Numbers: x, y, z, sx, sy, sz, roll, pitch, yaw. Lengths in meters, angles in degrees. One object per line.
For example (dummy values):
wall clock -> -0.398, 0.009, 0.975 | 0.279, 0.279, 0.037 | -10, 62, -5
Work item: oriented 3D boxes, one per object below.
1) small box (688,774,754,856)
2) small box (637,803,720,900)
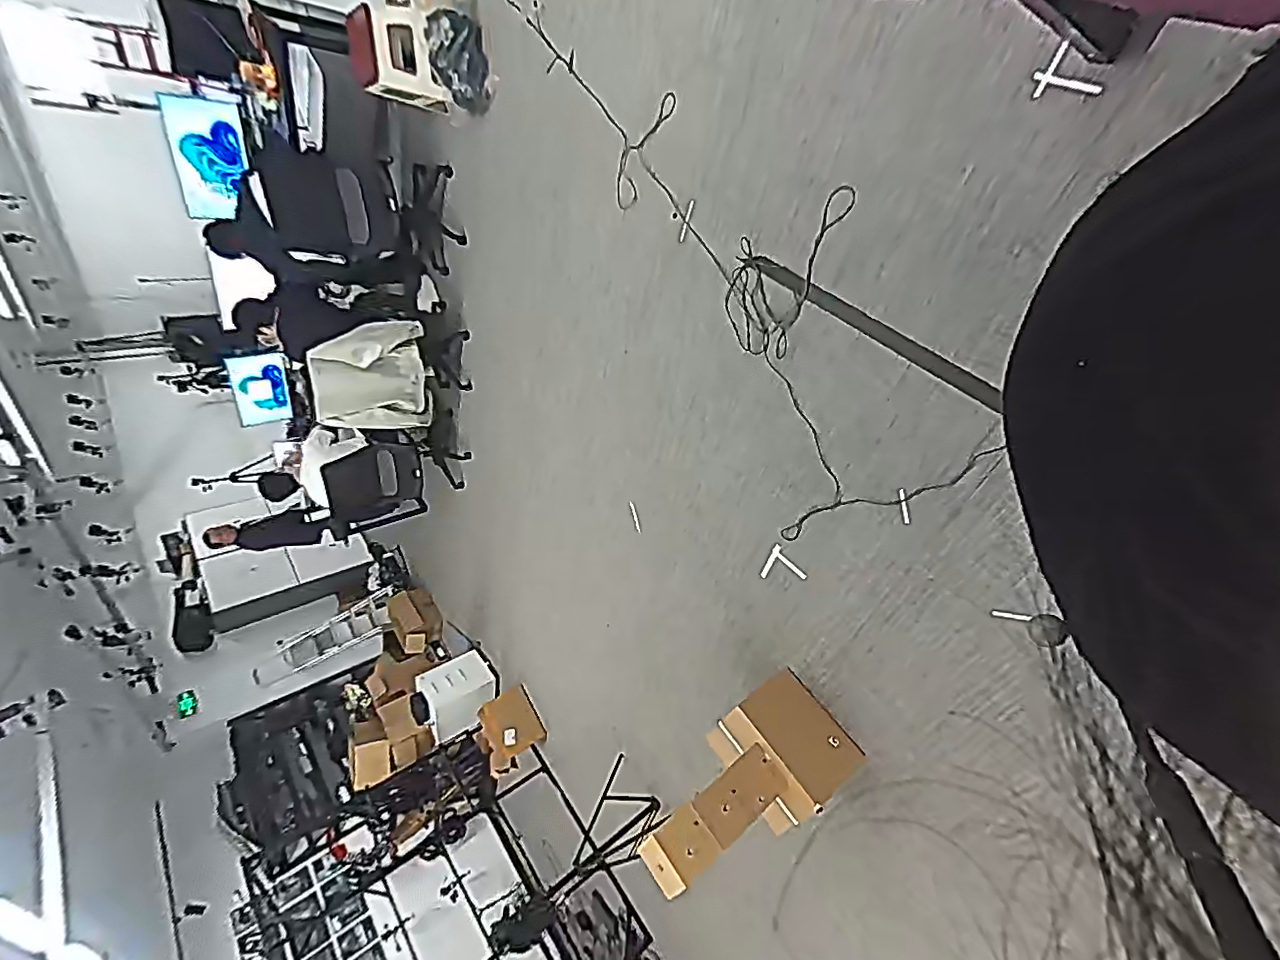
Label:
small box -> 0.247, 1.105, 1.773 | 0.168, 0.176, 0.179 | 49, 137, 26
small box -> 0.123, 1.144, 1.673 | 0.168, 0.176, 0.179 | 47, 137, 28
